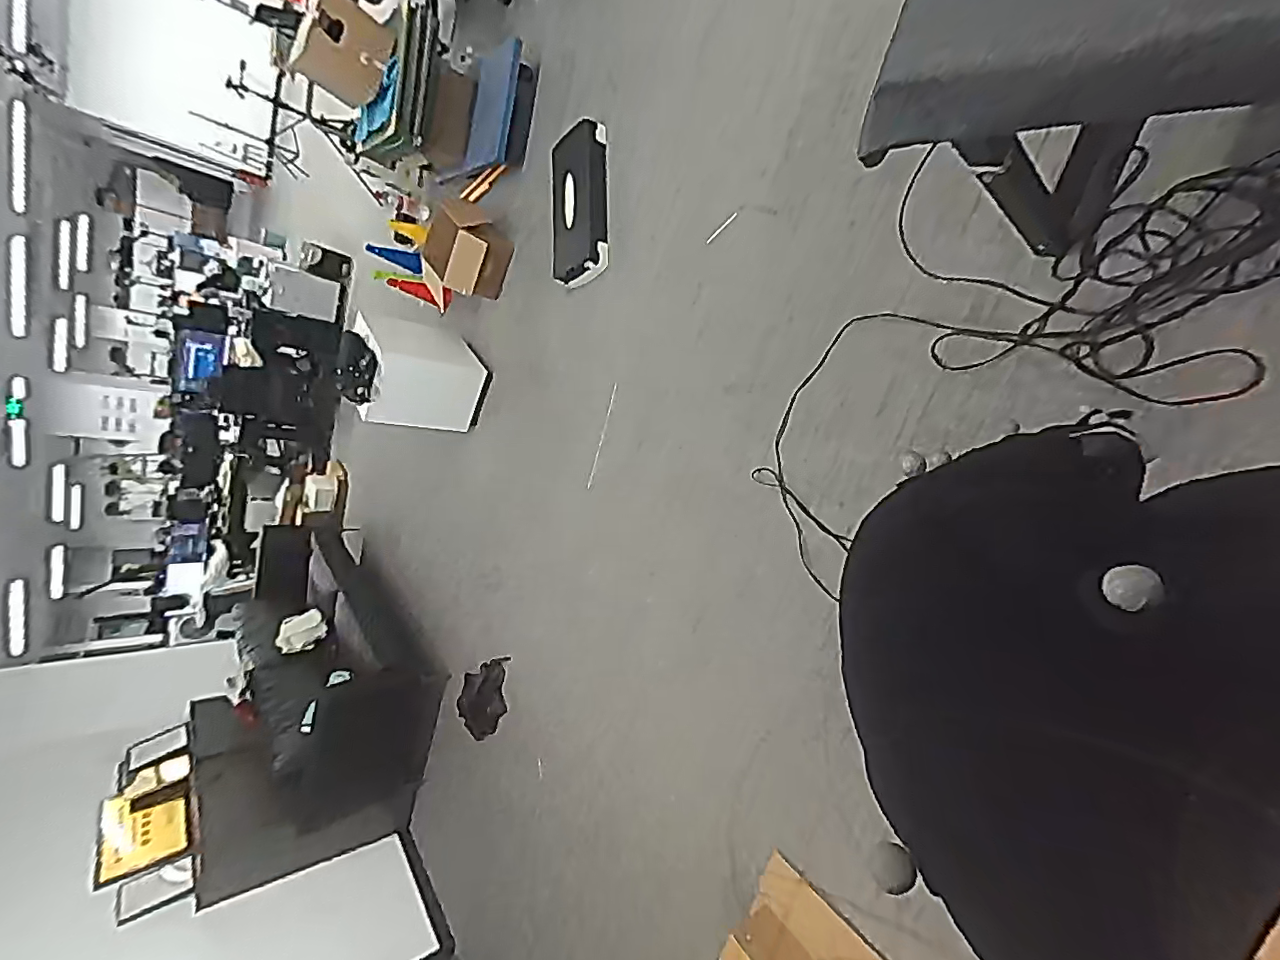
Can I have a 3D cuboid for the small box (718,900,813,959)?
[{"bbox_3d":[0.346,1.325,1.495,0.179,0.176,0.168,31,110,45],"label":"small box"}]
